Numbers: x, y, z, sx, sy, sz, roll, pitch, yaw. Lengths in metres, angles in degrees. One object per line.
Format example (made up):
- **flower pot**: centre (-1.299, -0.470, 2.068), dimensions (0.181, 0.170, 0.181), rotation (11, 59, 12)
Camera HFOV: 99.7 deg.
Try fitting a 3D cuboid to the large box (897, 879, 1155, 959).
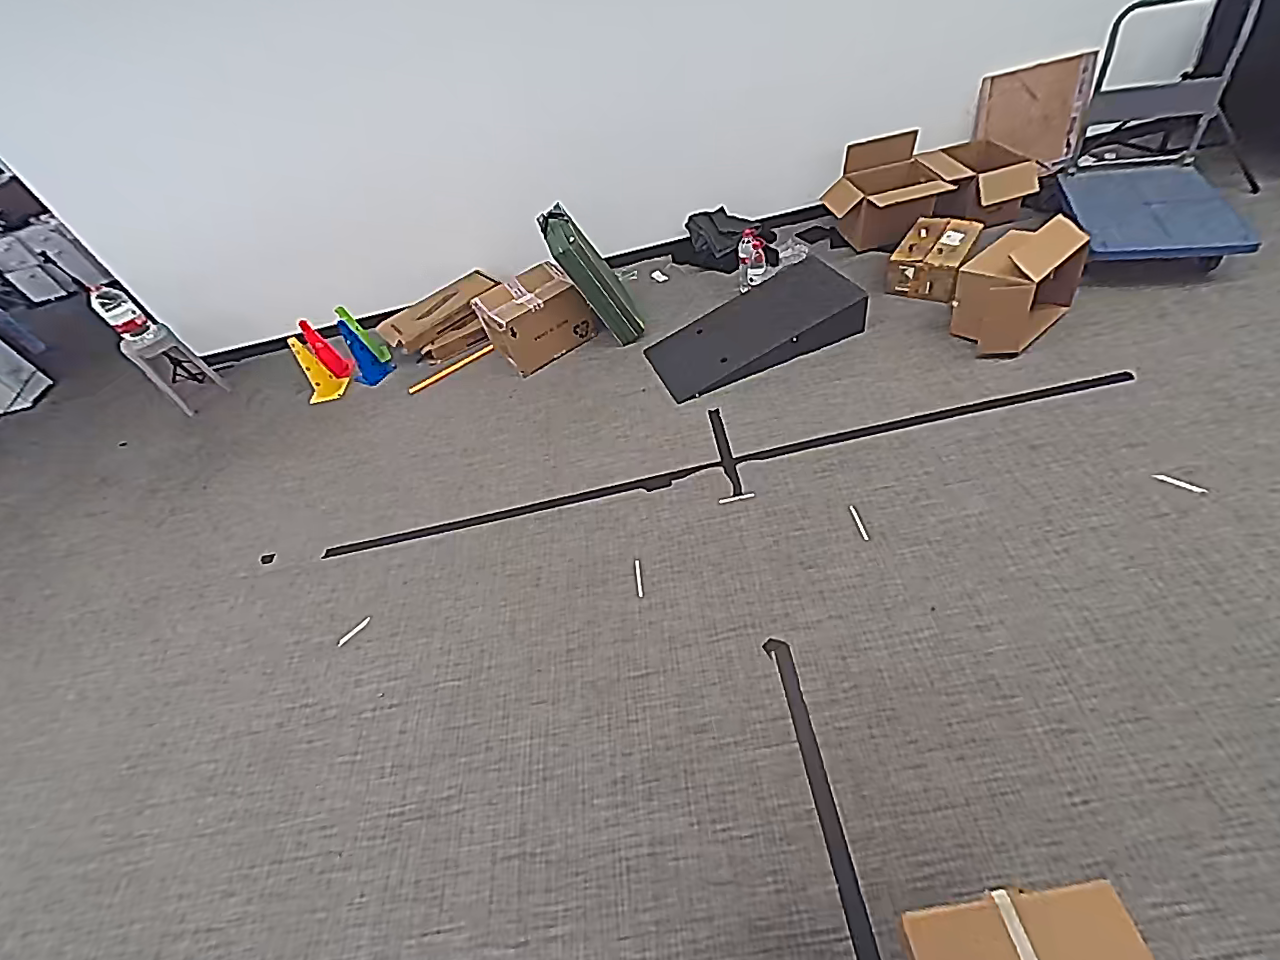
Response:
- **large box**: centre (0.634, 0.883, 0.816), dimensions (0.320, 0.320, 0.408), rotation (-18, 48, 9)
